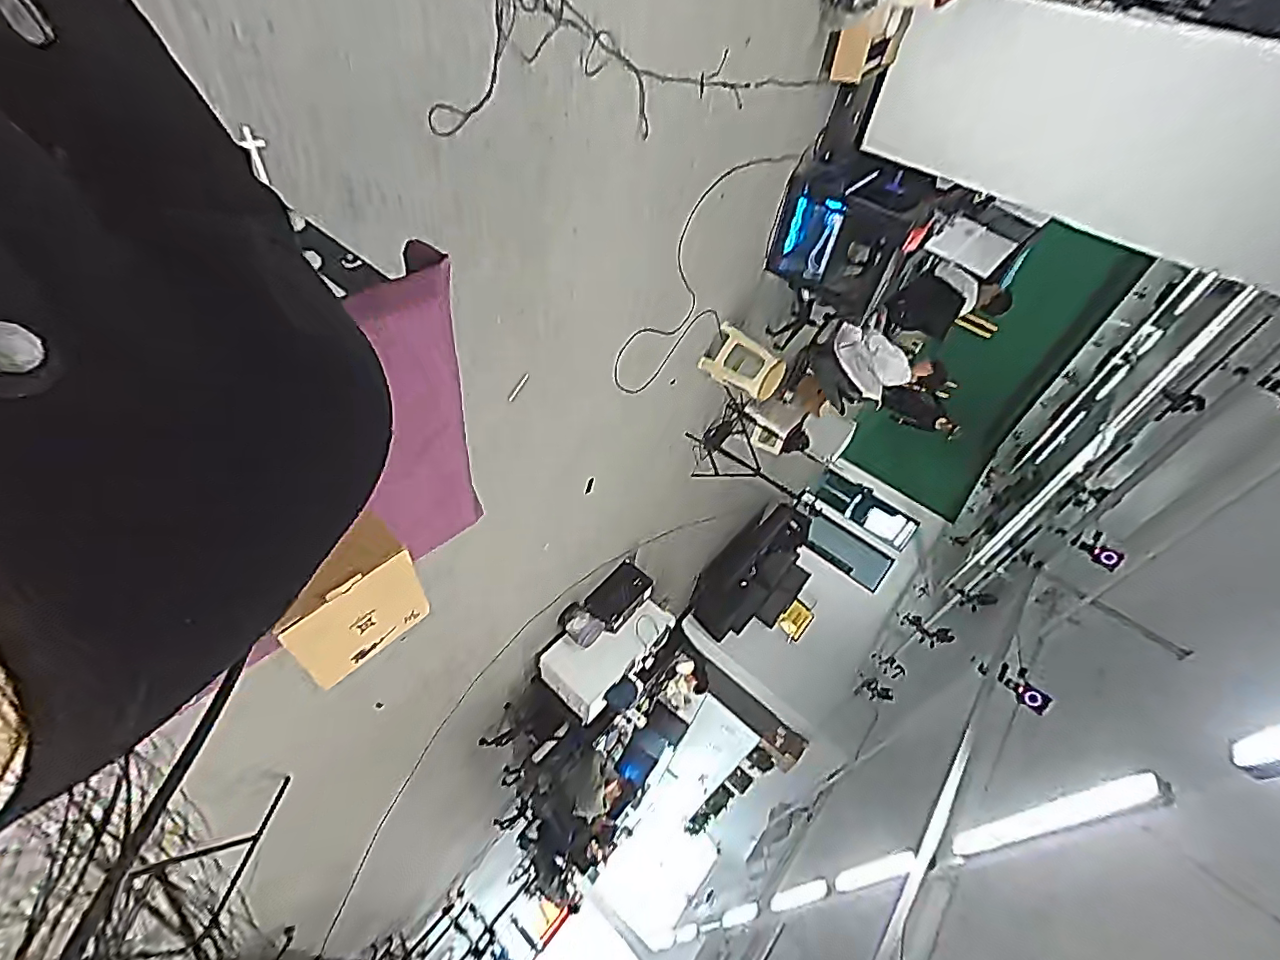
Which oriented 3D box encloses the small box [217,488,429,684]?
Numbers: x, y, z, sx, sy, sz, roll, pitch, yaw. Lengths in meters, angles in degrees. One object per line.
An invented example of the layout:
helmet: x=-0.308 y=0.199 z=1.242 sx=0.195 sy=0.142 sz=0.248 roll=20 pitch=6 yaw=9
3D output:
small box: x=-0.423 y=0.134 z=0.737 sx=0.168 sy=0.176 sz=0.179 roll=-39 pitch=153 yaw=-33
